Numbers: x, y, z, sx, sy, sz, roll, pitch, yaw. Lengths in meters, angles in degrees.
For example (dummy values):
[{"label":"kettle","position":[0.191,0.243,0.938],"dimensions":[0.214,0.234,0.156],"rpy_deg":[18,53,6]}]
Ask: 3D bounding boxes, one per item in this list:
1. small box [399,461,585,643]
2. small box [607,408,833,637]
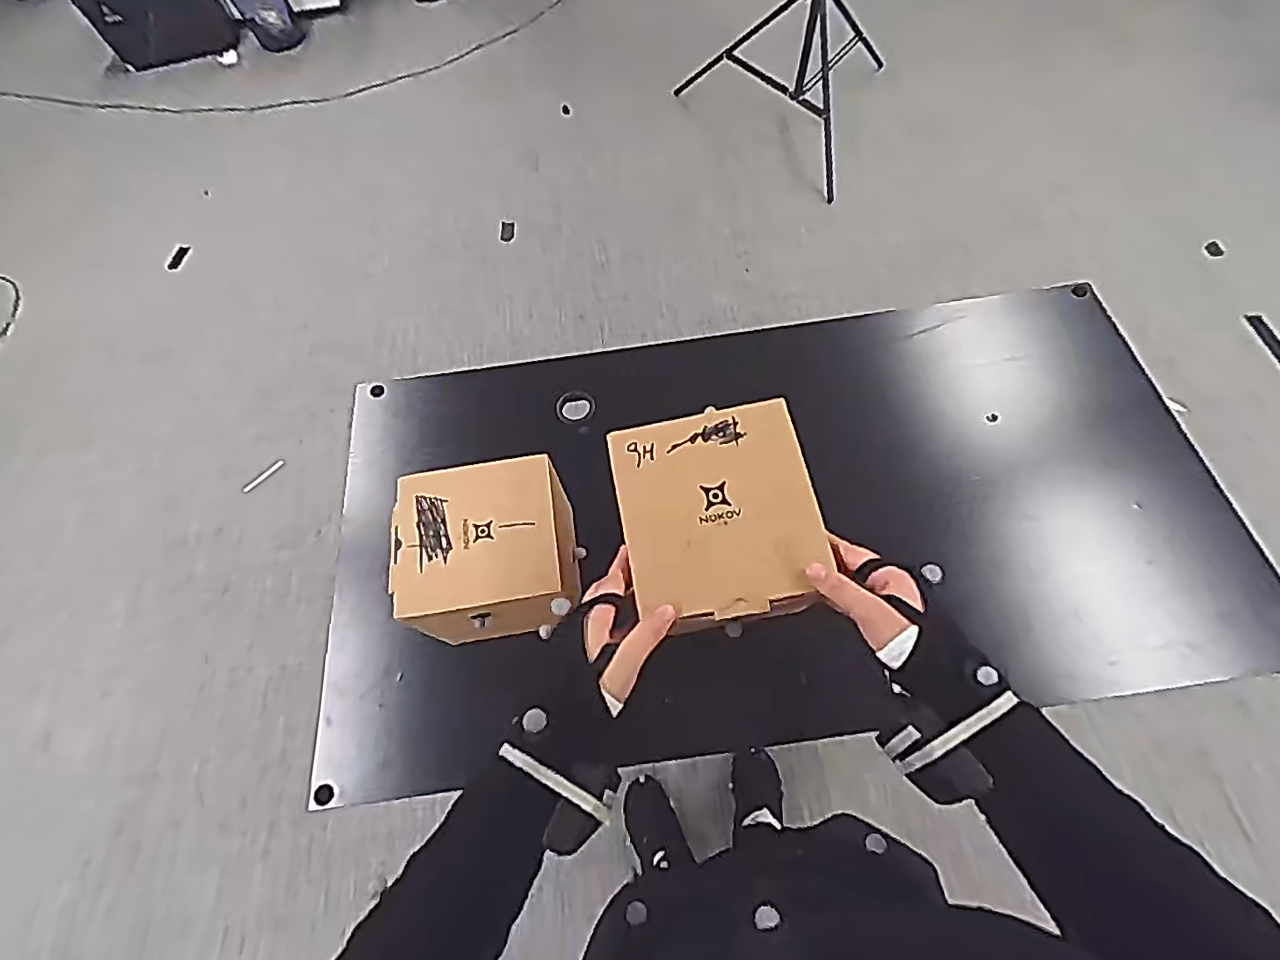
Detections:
[{"label":"small box","position":[-0.173,0.097,0.671],"dimensions":[0.179,0.176,0.168],"rpy_deg":[-9,65,-2]},{"label":"small box","position":[0.071,0.053,0.540],"dimensions":[0.168,0.176,0.179],"rpy_deg":[-12,72,0]}]
